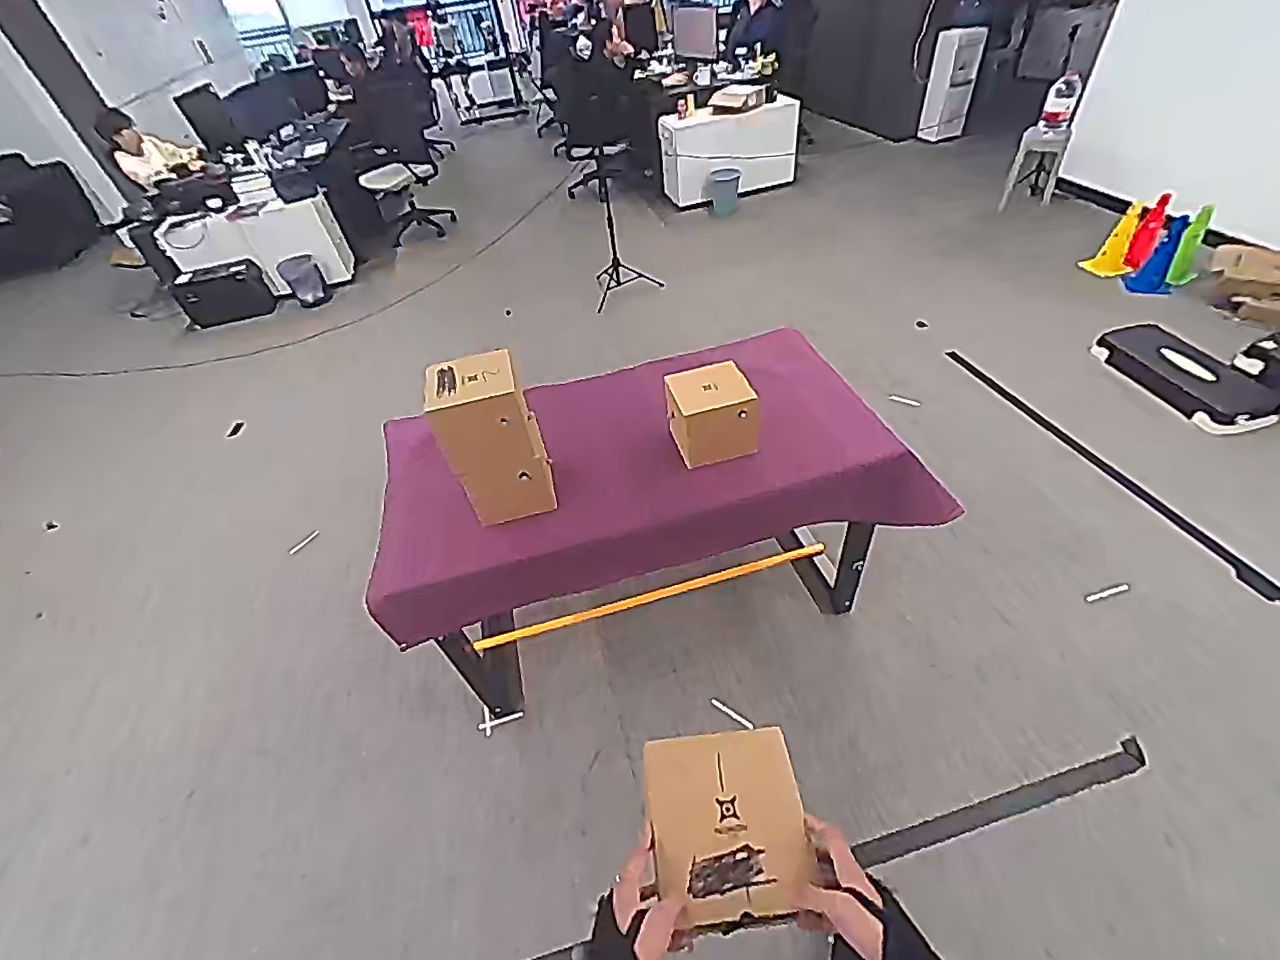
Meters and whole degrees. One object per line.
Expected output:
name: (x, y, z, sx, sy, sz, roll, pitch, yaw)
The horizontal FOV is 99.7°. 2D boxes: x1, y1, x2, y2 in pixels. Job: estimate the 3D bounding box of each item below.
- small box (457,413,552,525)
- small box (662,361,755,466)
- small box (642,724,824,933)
small box: (-0.304, -0.024, 1.232, 0.179, 0.176, 0.168, -14, 45, -5)
small box: (0.163, -0.154, 1.290, 0.179, 0.176, 0.168, -14, 45, -6)
small box: (0.093, 0.410, 0.633, 0.168, 0.176, 0.179, -4, 47, -4)
